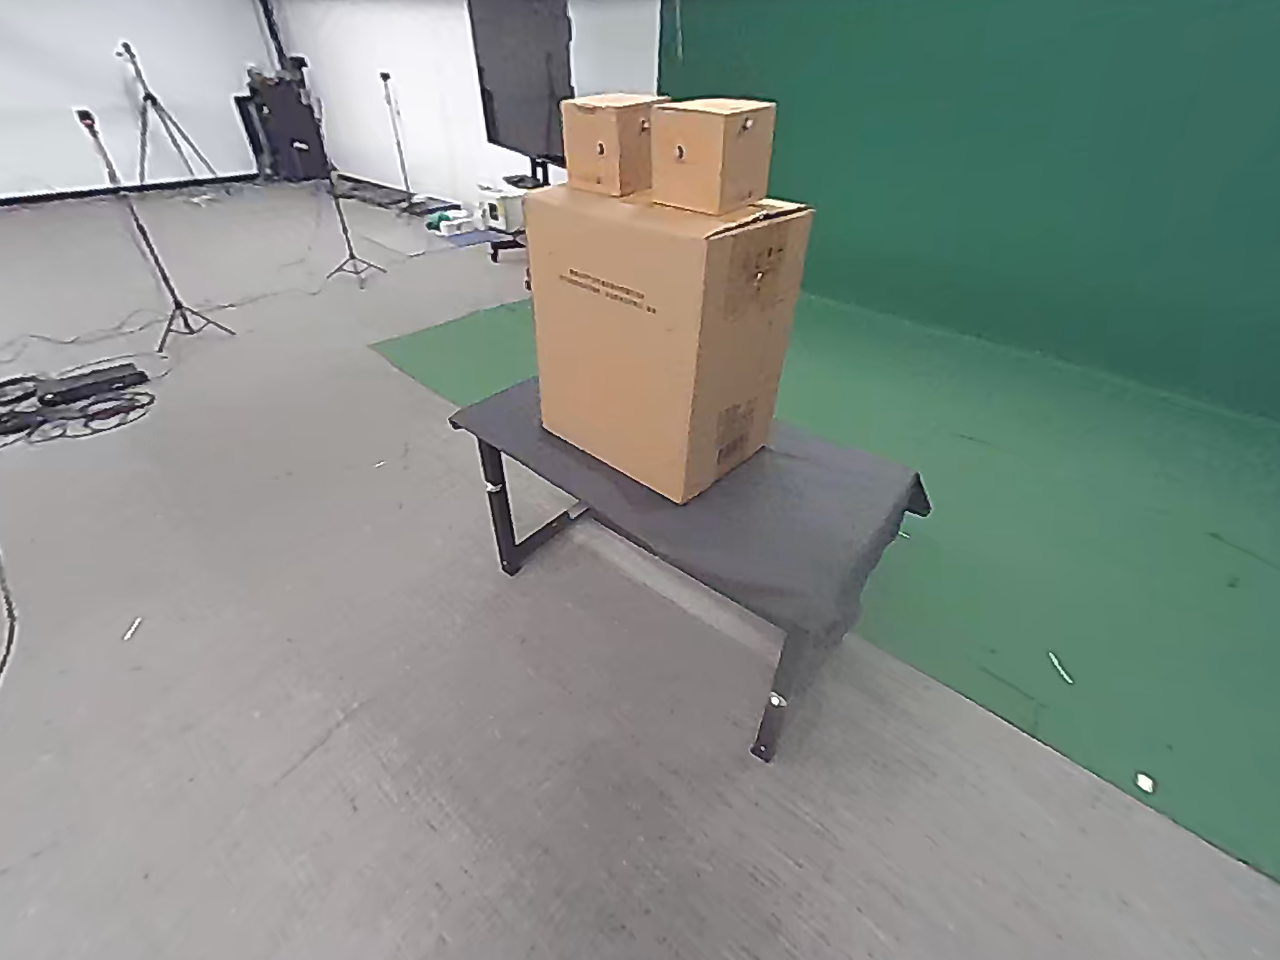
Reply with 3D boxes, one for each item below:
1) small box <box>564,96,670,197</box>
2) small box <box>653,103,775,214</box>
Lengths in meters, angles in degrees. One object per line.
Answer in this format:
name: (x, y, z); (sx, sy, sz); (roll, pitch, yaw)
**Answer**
small box: (-0.047, -0.749, 1.215); (0.168, 0.176, 0.179); (30, 49, 30)
small box: (0.144, -0.643, 1.081); (0.179, 0.176, 0.168); (30, 50, 33)
